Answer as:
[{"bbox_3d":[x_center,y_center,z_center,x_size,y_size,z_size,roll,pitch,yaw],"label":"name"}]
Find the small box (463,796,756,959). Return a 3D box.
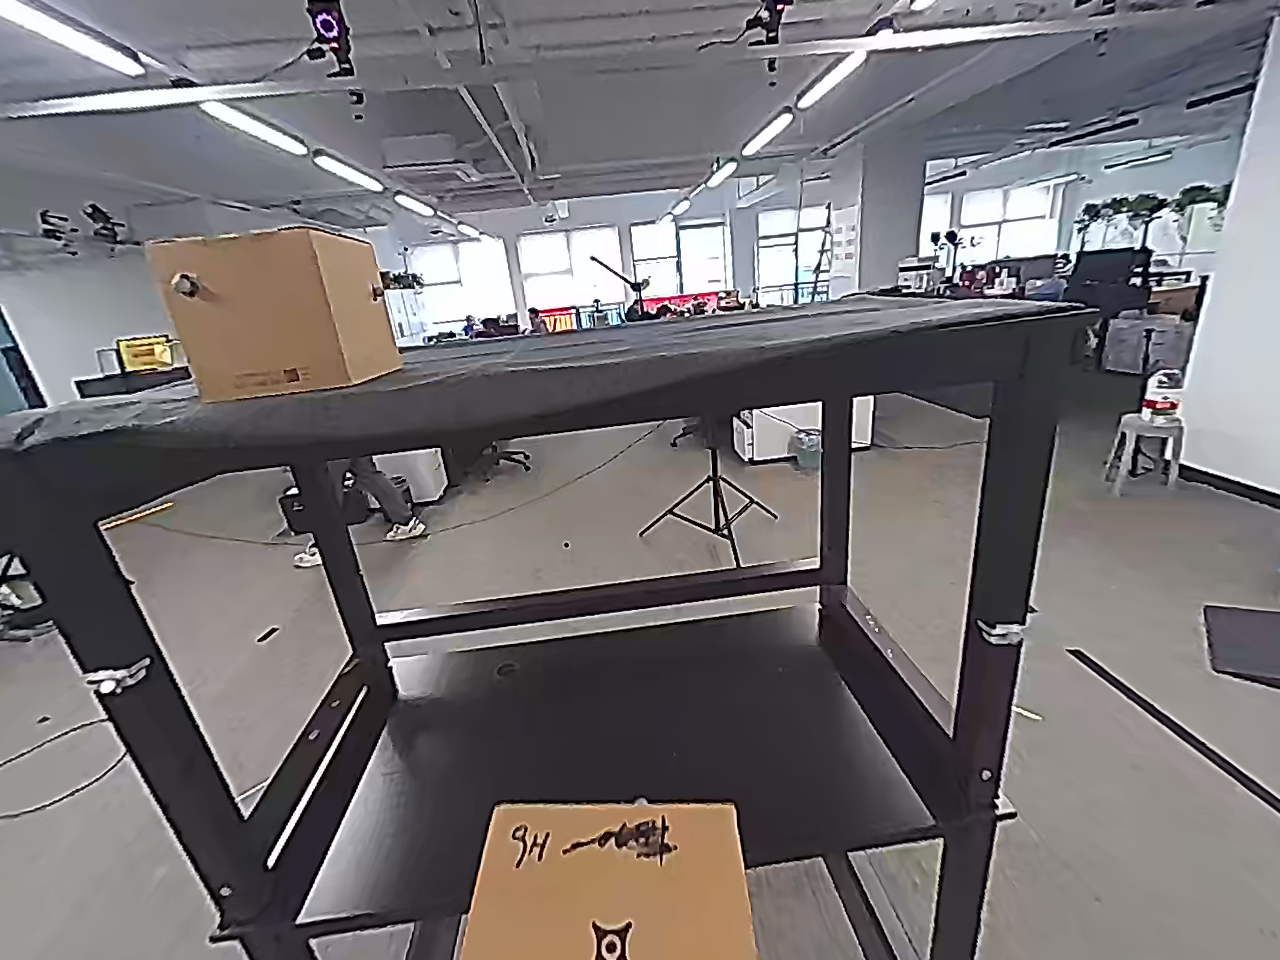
[{"bbox_3d":[-0.016,0.332,0.341,0.168,0.176,0.179,0,32,-1],"label":"small box"}]
